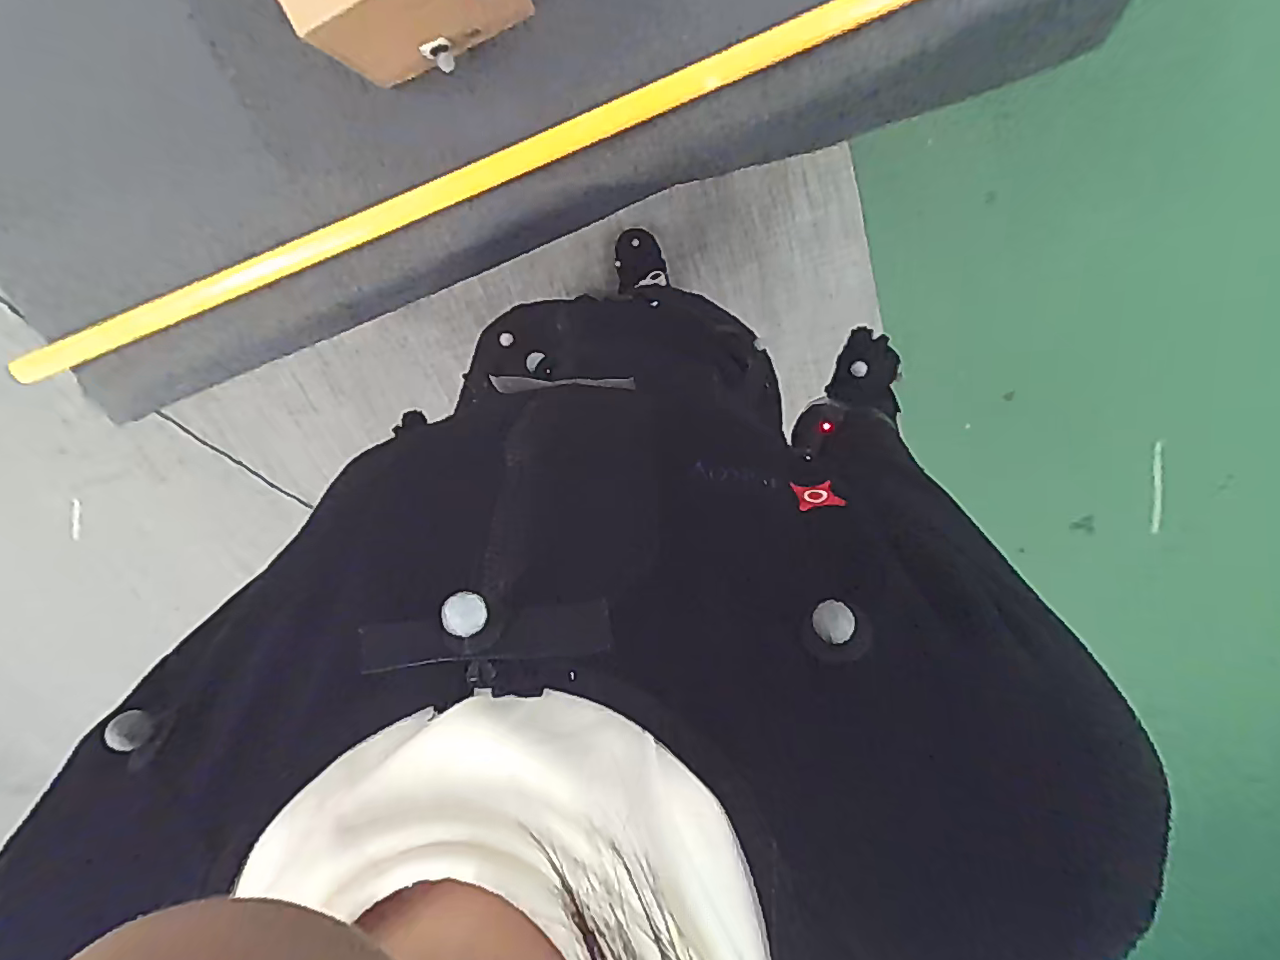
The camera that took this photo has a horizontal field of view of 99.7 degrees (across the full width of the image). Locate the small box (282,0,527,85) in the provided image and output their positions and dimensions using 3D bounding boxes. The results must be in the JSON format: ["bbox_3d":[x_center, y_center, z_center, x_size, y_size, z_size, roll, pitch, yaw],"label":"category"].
[{"bbox_3d":[-0.209,-0.461,0.426,0.168,0.176,0.179,-22,113,9],"label":"small box"}]
